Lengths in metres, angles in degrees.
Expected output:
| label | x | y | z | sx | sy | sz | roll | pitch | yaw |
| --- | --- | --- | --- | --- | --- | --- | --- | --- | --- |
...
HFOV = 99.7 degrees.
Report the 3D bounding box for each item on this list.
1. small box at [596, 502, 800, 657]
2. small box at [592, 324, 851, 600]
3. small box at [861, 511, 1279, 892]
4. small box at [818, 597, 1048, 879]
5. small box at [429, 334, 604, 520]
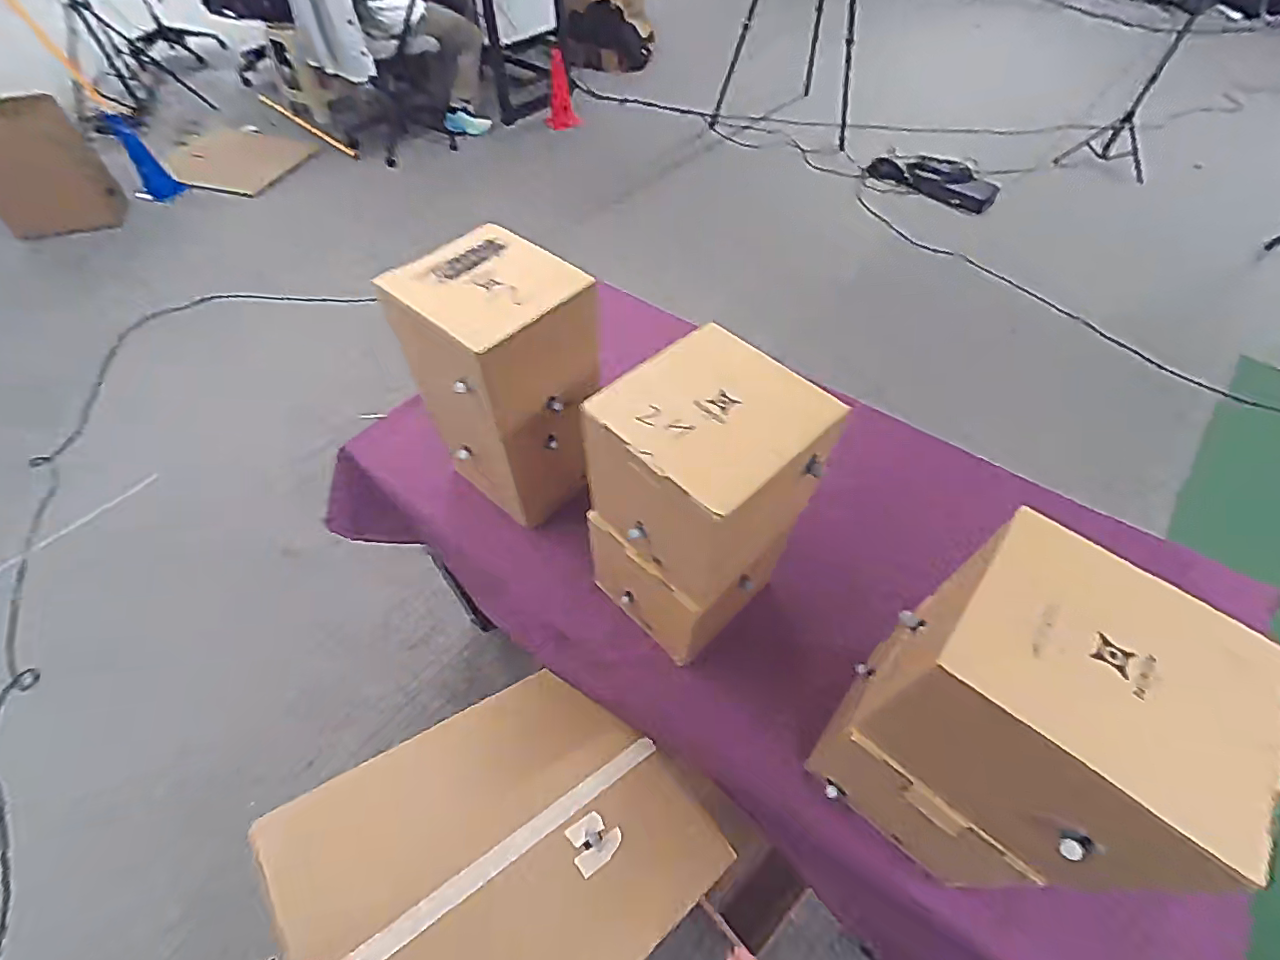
| label | x | y | z | sx | sy | sz | roll | pitch | yaw |
| --- | --- | --- | --- | --- | --- | --- | --- | --- | --- |
| small box | 0.064 | 0.084 | 0.672 | 0.179 | 0.176 | 0.168 | -38 | 62 | -23 |
| small box | 0.071 | -0.016 | 0.541 | 0.179 | 0.176 | 0.168 | -37 | 62 | -23 |
| small box | 0.306 | 0.164 | 0.410 | 0.179 | 0.176 | 0.168 | 36 | 61 | 24 |
| small box | 0.300 | 0.260 | 0.543 | 0.168 | 0.176 | 0.179 | 35 | 60 | 23 |
| small box | -0.164 | -0.073 | 0.782 | 0.179 | 0.176 | 0.168 | 35 | 62 | 23 |
